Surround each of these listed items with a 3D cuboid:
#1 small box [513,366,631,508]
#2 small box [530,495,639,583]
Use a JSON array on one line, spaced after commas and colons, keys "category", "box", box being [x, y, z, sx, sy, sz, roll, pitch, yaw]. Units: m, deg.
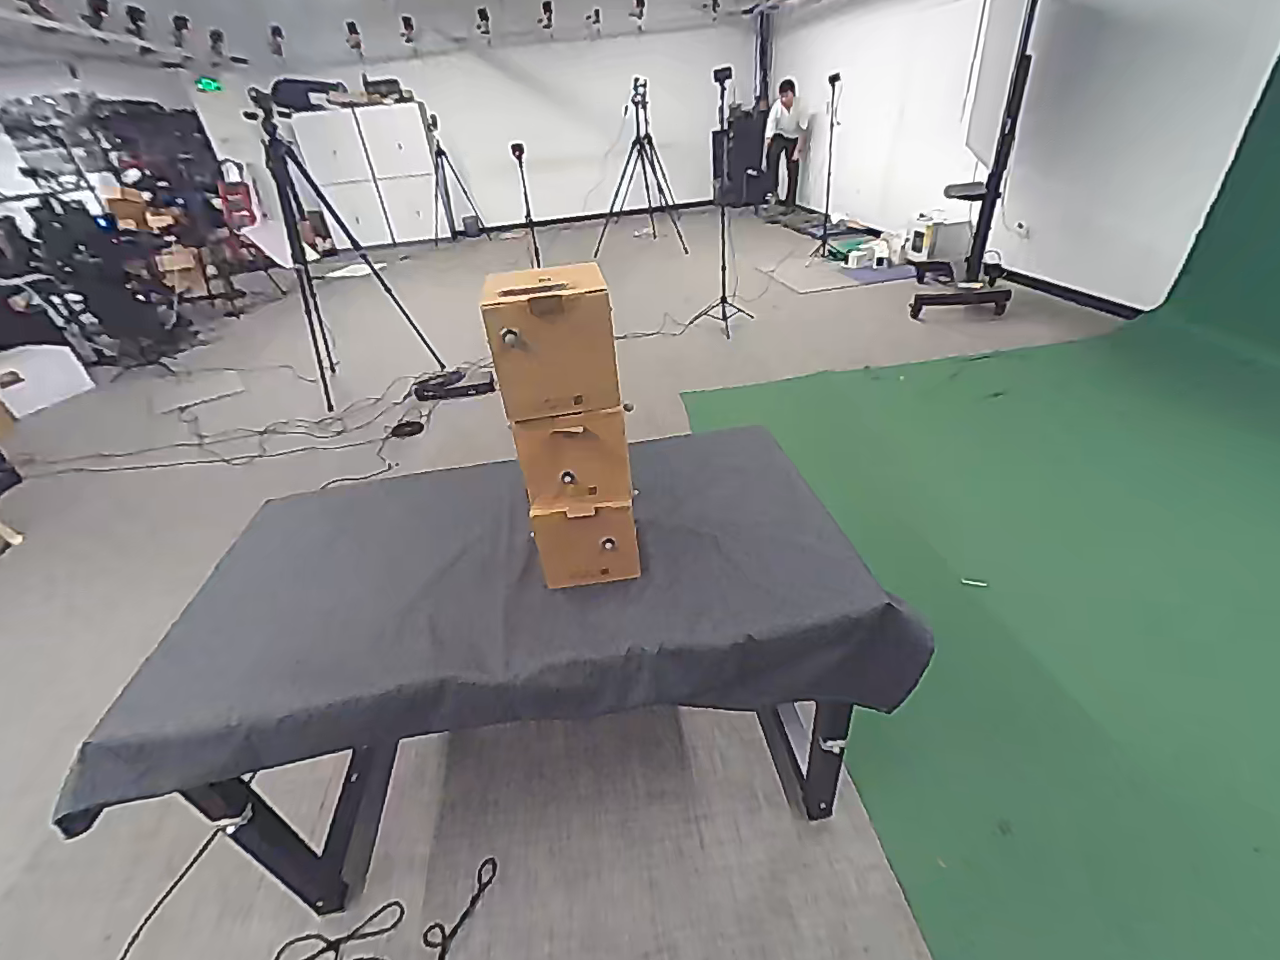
[{"category": "small box", "box": [-0.105, -0.074, 0.895, 0.168, 0.176, 0.179, -6, 34, -1]}, {"category": "small box", "box": [-0.093, 0.071, 0.971, 0.168, 0.176, 0.179, -6, 32, -2]}]
